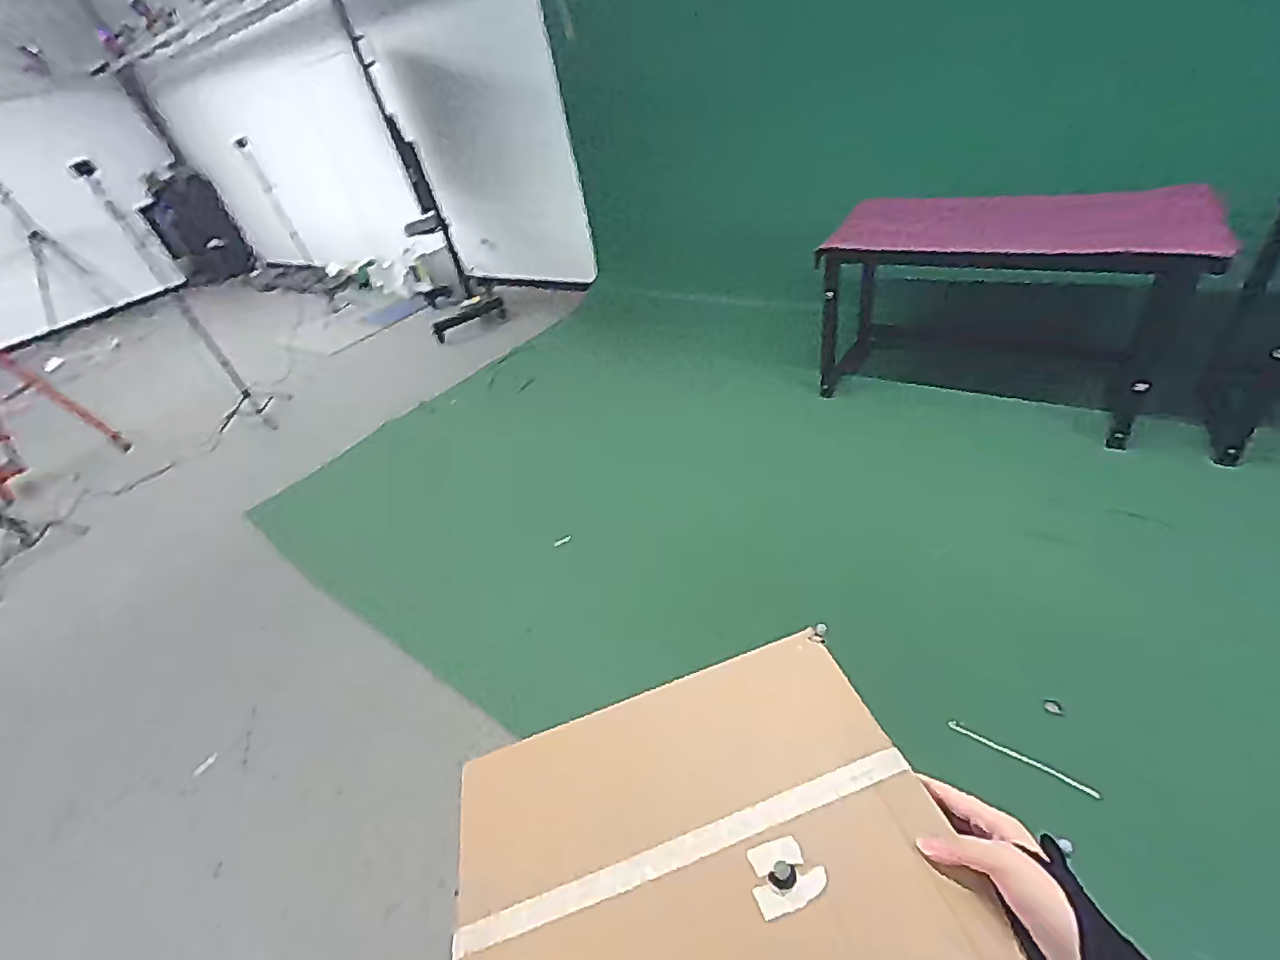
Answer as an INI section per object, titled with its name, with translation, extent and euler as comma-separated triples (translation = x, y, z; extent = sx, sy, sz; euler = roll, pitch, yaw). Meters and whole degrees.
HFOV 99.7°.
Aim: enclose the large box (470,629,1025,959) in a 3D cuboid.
[large box]
translation = 0.075, 0.429, 0.557
extent = 0.408, 0.320, 0.320
euler = -18, 36, -5
